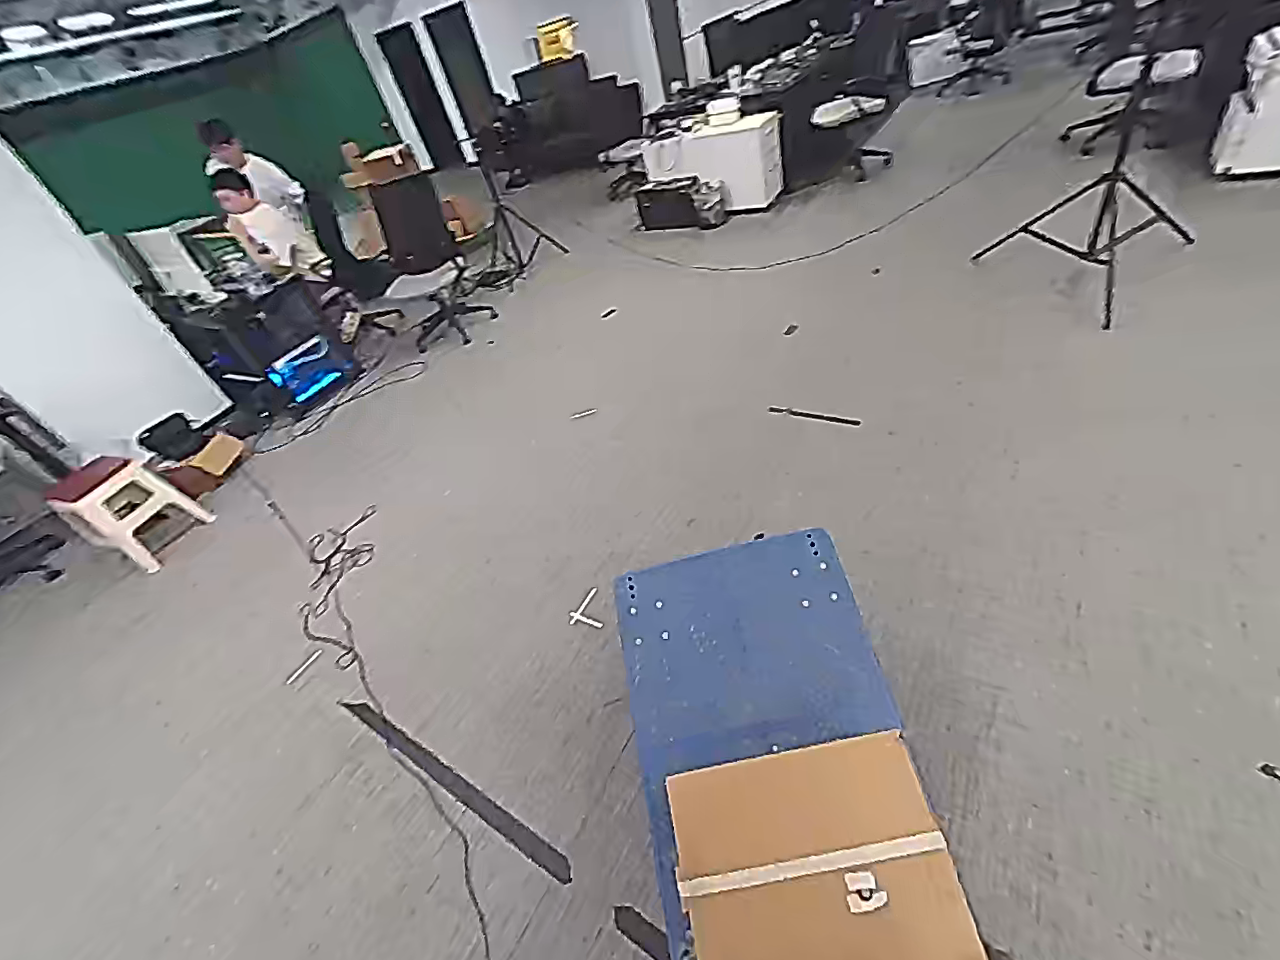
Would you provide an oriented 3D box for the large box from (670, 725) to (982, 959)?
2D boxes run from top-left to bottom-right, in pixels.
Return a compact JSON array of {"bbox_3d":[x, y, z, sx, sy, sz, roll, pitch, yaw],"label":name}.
[{"bbox_3d":[0.296,0.668,0.982,0.408,0.320,0.320,-15,60,4],"label":"large box"}]
